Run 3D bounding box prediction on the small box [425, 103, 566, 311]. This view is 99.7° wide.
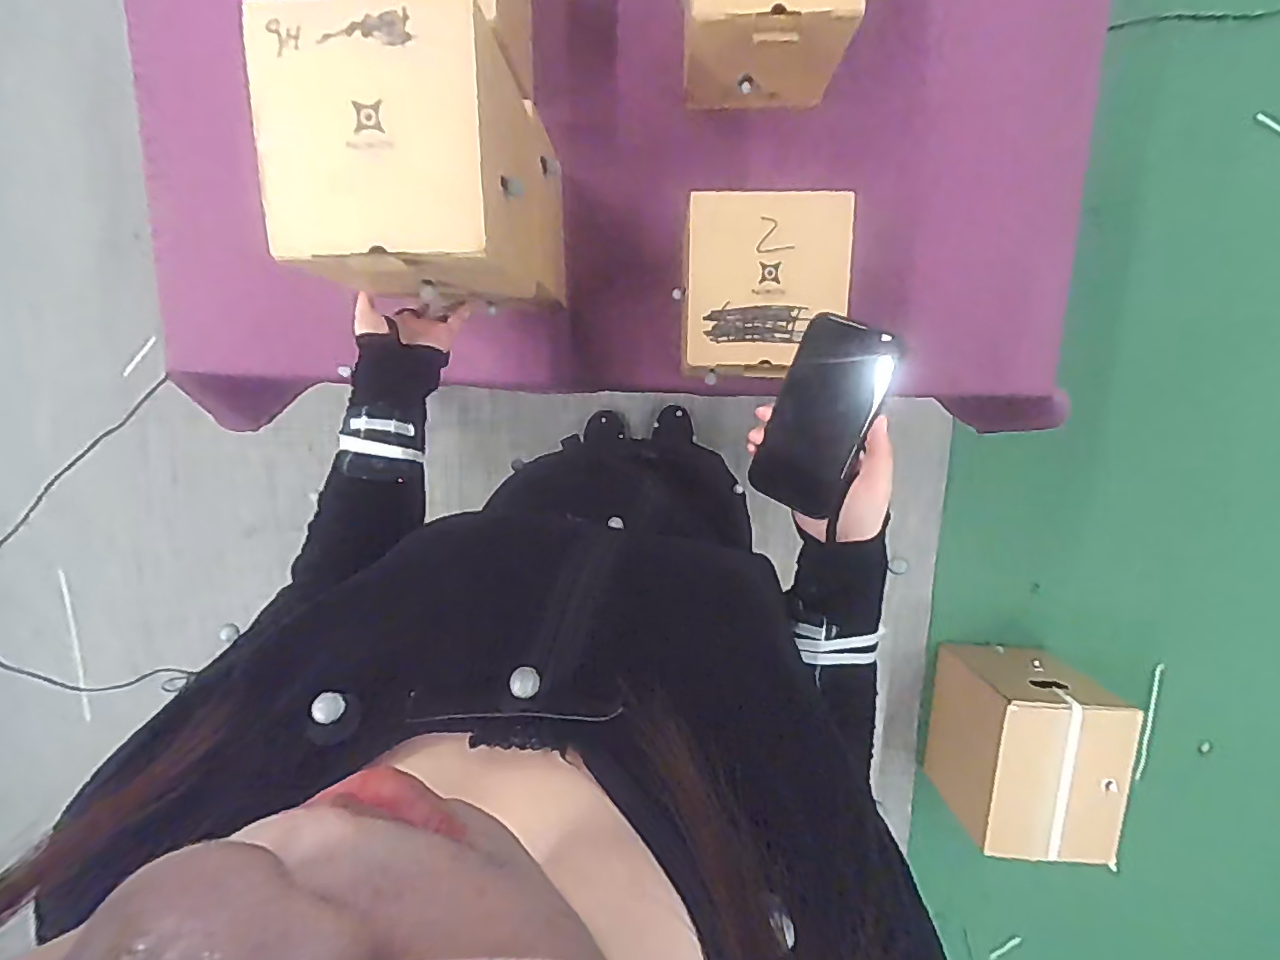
[{"bbox_3d":[-0.182,-0.301,0.630,0.168,0.176,0.179,0,99,2],"label":"small box"}]

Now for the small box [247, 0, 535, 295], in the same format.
[{"bbox_3d":[-0.191,-0.261,0.469,0.168,0.176,0.179,0,100,2],"label":"small box"}]

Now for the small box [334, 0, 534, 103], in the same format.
[{"bbox_3d":[-0.213,-0.540,0.593,0.168,0.176,0.179,2,99,0],"label":"small box"}]

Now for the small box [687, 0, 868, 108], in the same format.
[{"bbox_3d":[0.137,-0.539,0.582,0.168,0.176,0.179,0,100,2],"label":"small box"}]
